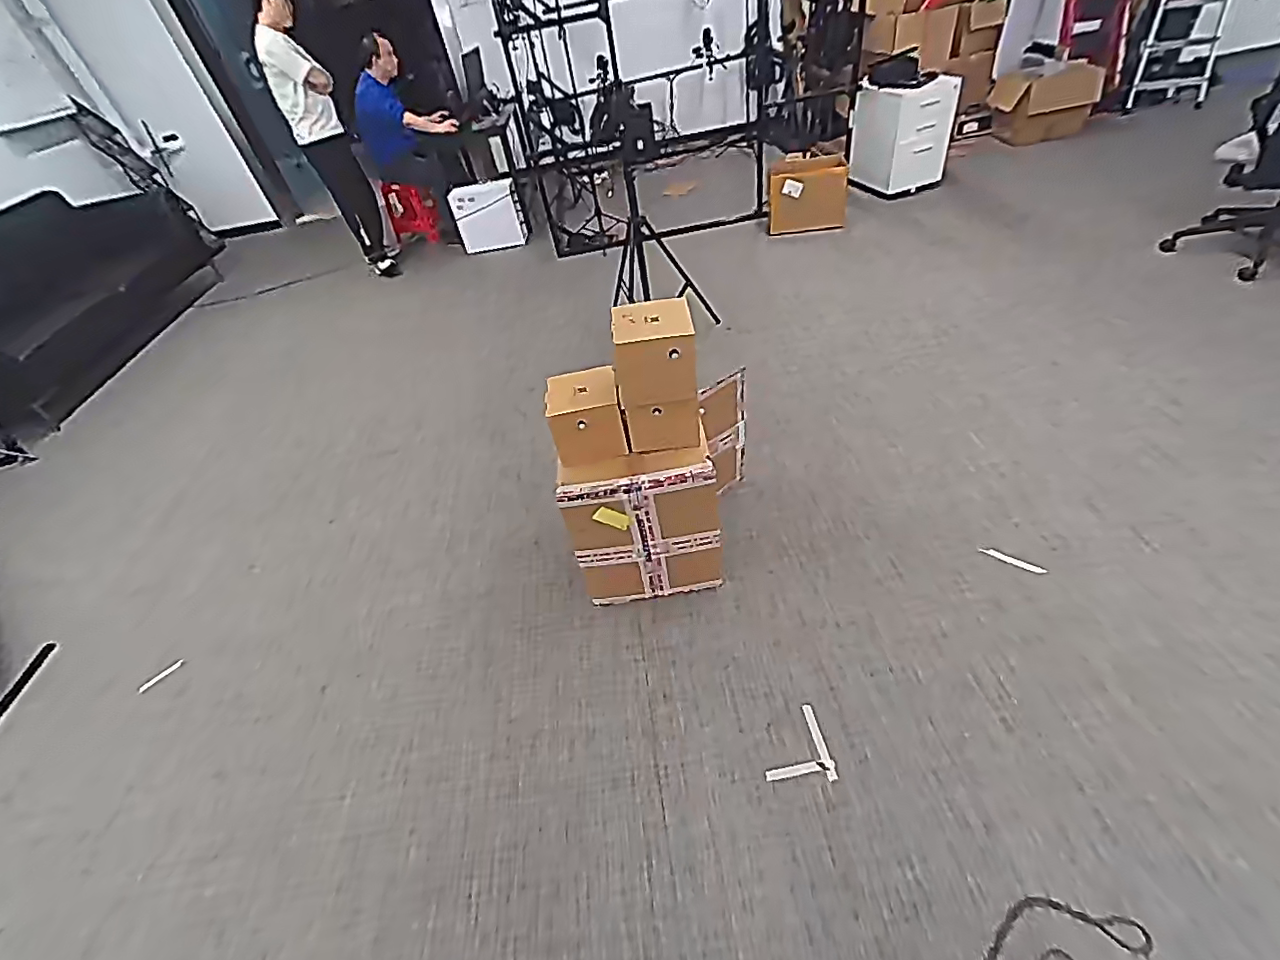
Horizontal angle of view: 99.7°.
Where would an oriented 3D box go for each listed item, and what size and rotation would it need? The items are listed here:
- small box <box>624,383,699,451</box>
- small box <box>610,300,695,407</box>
[{"bbox_3d":[0.054,-0.188,1.365,0.179,0.176,0.168,-5,45,5],"label":"small box"},{"bbox_3d":[0.030,-0.286,1.232,0.179,0.176,0.168,-7,44,3],"label":"small box"}]
